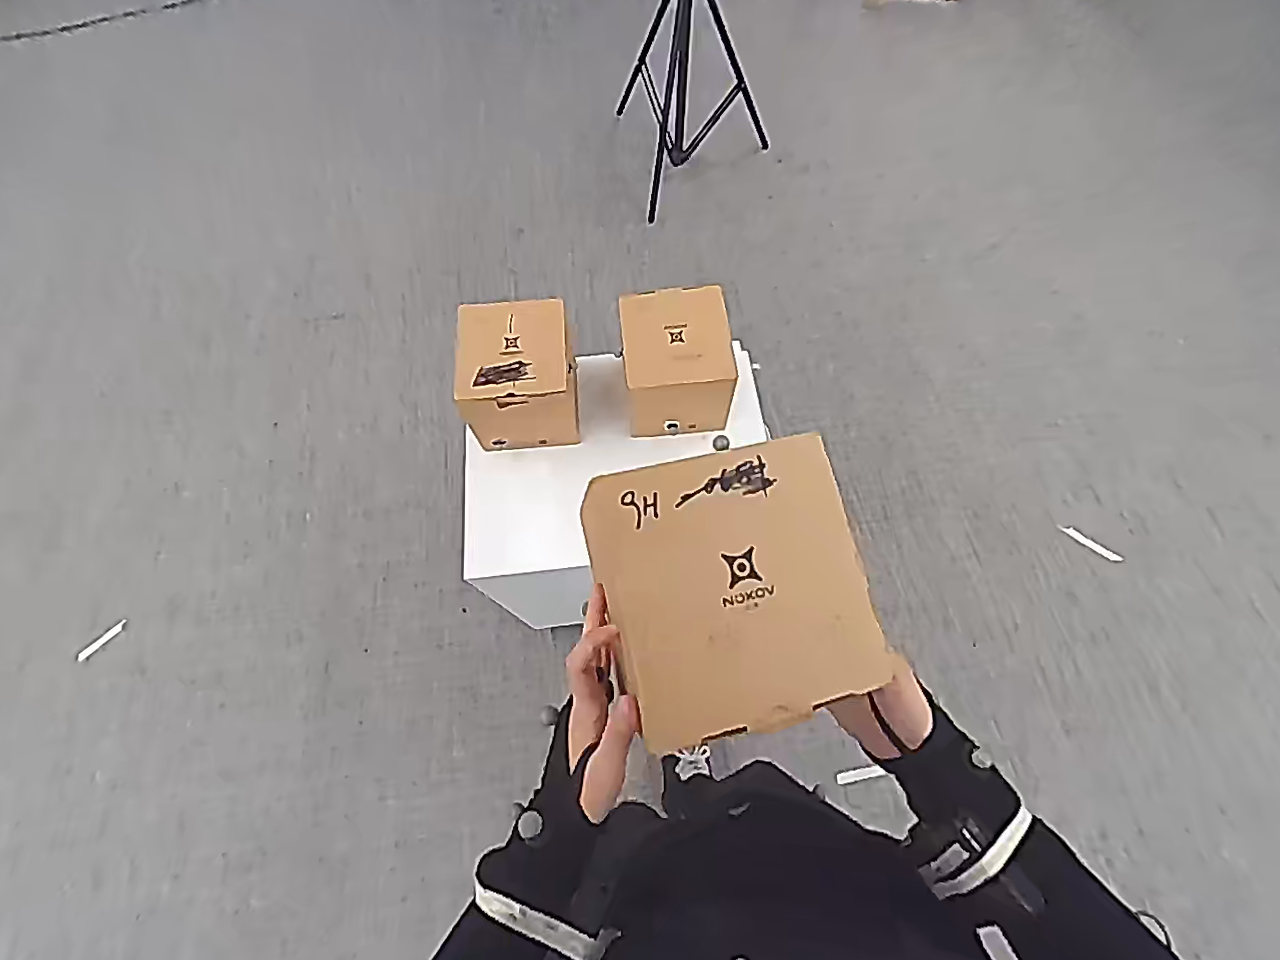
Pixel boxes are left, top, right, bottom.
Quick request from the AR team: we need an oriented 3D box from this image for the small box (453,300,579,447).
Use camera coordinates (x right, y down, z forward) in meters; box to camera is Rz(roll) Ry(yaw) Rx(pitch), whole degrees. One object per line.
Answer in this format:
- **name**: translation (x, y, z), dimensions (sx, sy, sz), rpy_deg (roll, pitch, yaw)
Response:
- **small box**: translation (-0.192, -0.163, 0.880), dimensions (0.168, 0.176, 0.179), rpy_deg (-5, 67, -2)

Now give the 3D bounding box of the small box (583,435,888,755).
- **small box**: translation (0.054, 0.080, 0.426), dimensions (0.168, 0.176, 0.179), rpy_deg (-12, 82, -11)

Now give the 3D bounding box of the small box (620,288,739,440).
- **small box**: translation (0.057, -0.185, 0.889), dimensions (0.168, 0.176, 0.179), rpy_deg (-7, 69, -1)
